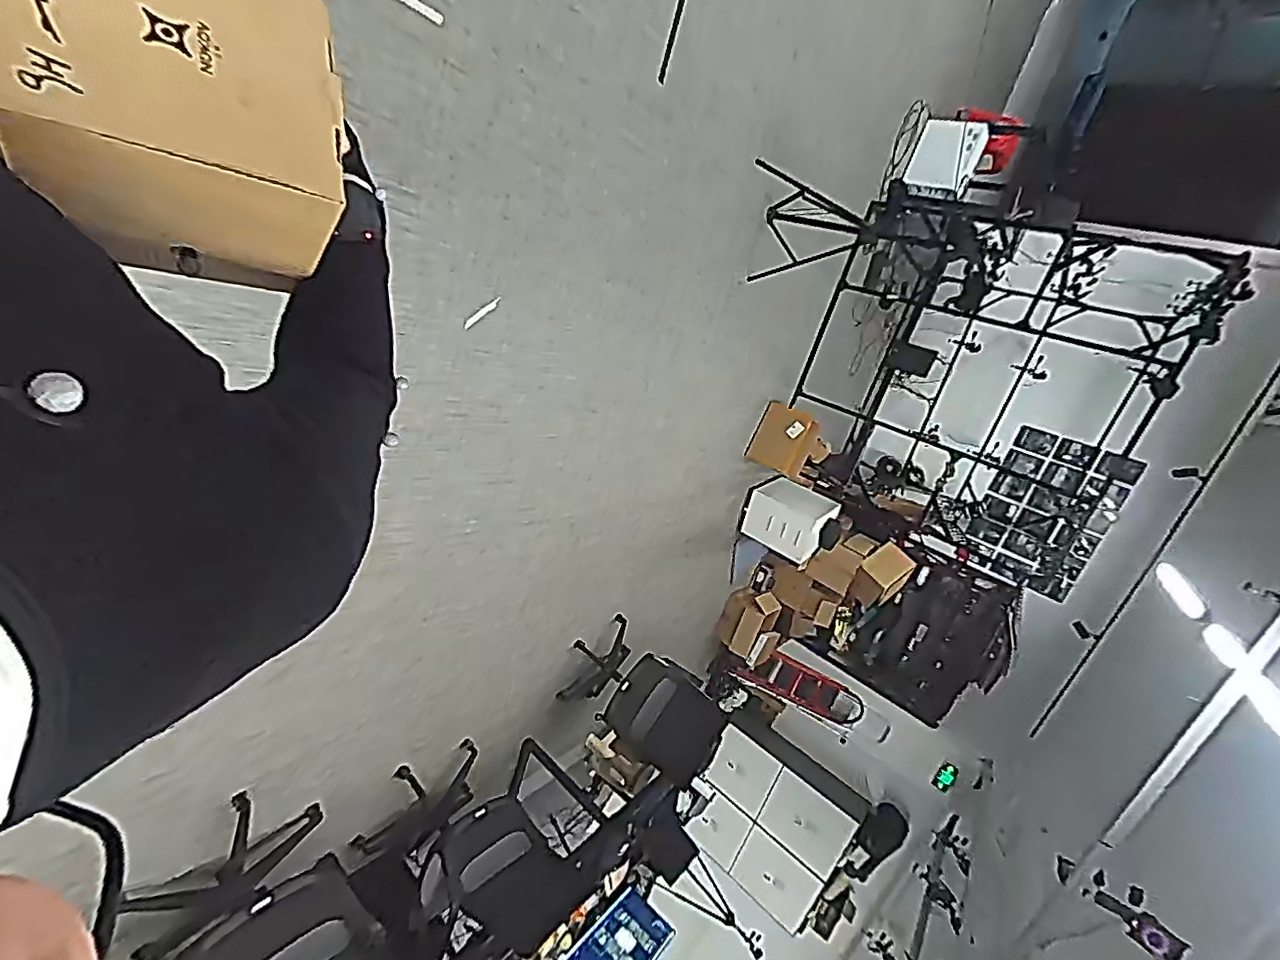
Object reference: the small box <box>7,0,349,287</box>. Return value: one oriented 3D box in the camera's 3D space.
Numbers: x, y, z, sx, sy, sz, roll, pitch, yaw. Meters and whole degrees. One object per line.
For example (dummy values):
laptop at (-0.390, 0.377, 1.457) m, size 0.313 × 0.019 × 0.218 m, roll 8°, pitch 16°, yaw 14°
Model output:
small box at (-0.351, -0.272, 0.424) m, size 0.179 × 0.176 × 0.168 m, roll -3°, pitch 82°, yaw -43°
